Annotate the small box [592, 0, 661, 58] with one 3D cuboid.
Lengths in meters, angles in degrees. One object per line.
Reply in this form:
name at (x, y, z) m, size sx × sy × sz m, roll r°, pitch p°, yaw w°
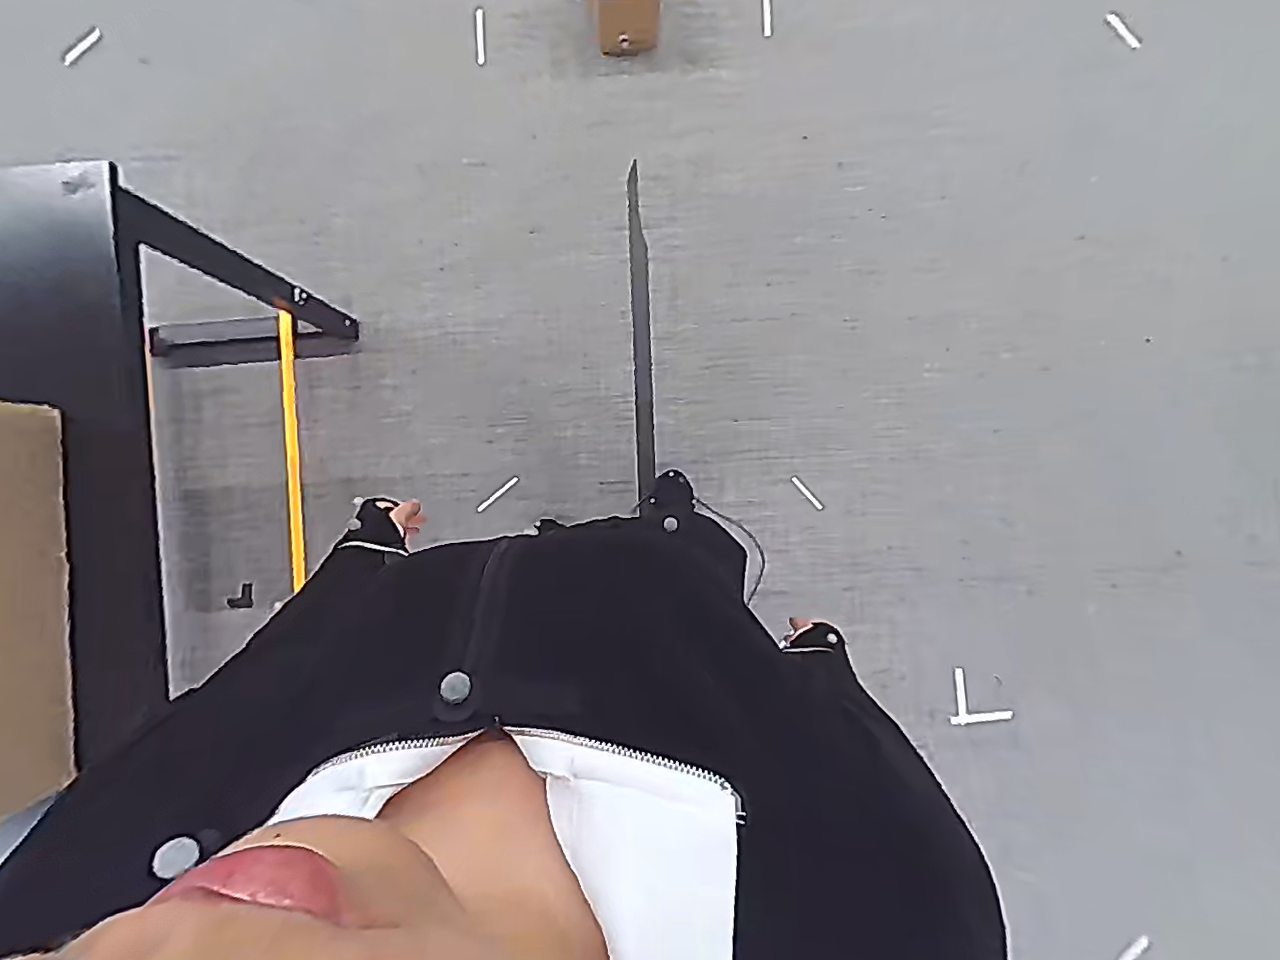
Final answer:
small box at (-0.042, -1.268, 1.423) m, size 0.168 × 0.176 × 0.179 m, roll -8°, pitch 91°, yaw 0°
